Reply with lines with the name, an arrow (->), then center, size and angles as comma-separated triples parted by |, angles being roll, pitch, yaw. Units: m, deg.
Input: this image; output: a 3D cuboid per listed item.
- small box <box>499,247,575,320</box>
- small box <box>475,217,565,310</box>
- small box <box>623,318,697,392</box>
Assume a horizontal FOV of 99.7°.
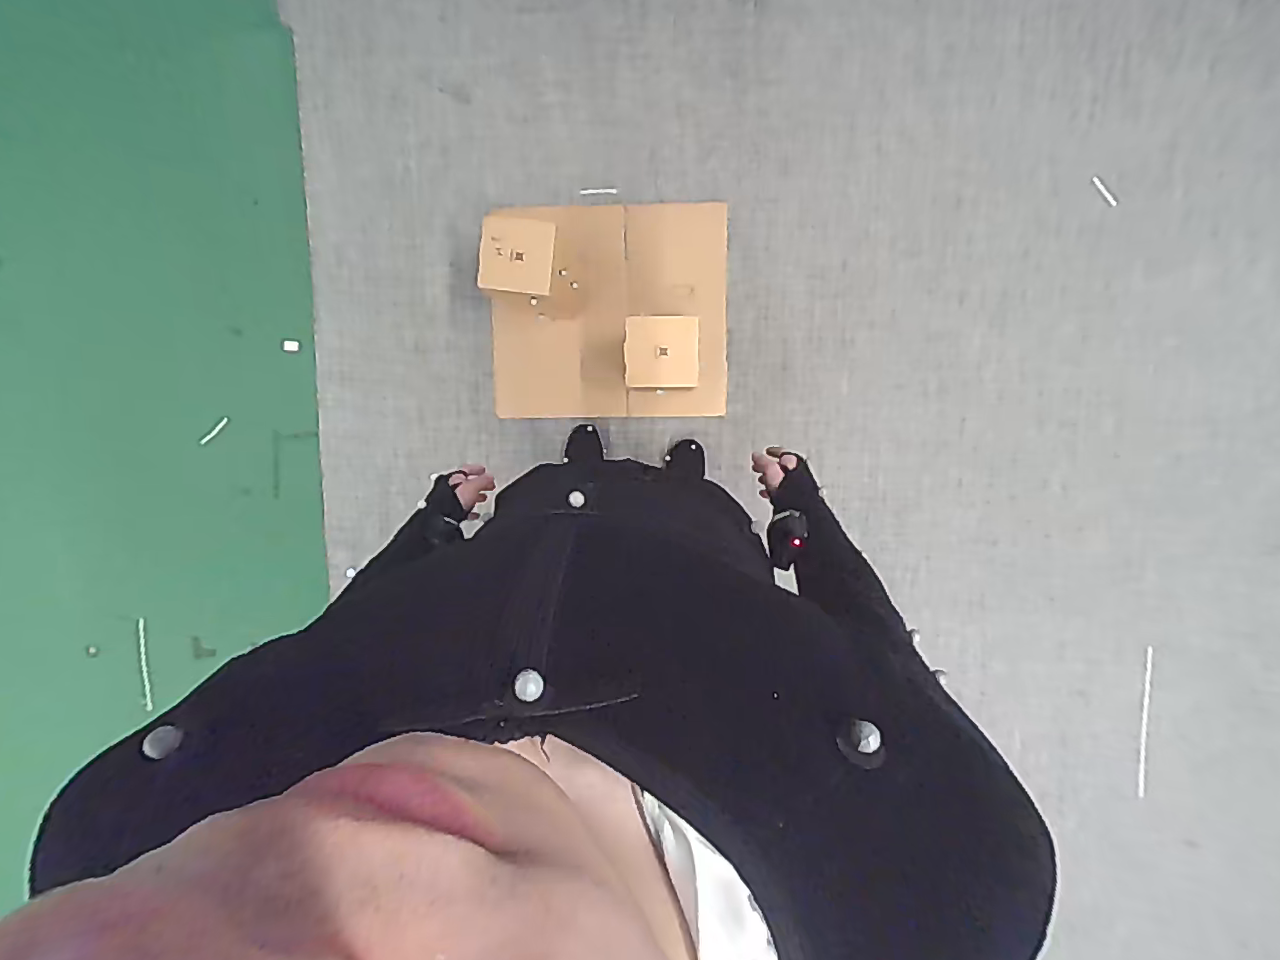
small box -> -0.283, -0.549, 1.500 | 0.179, 0.176, 0.168 | 8, 96, 1
small box -> -0.288, -0.526, 1.335 | 0.179, 0.176, 0.168 | 8, 96, 2
small box -> 0.051, -0.308, 1.350 | 0.179, 0.176, 0.168 | 0, 97, 4
